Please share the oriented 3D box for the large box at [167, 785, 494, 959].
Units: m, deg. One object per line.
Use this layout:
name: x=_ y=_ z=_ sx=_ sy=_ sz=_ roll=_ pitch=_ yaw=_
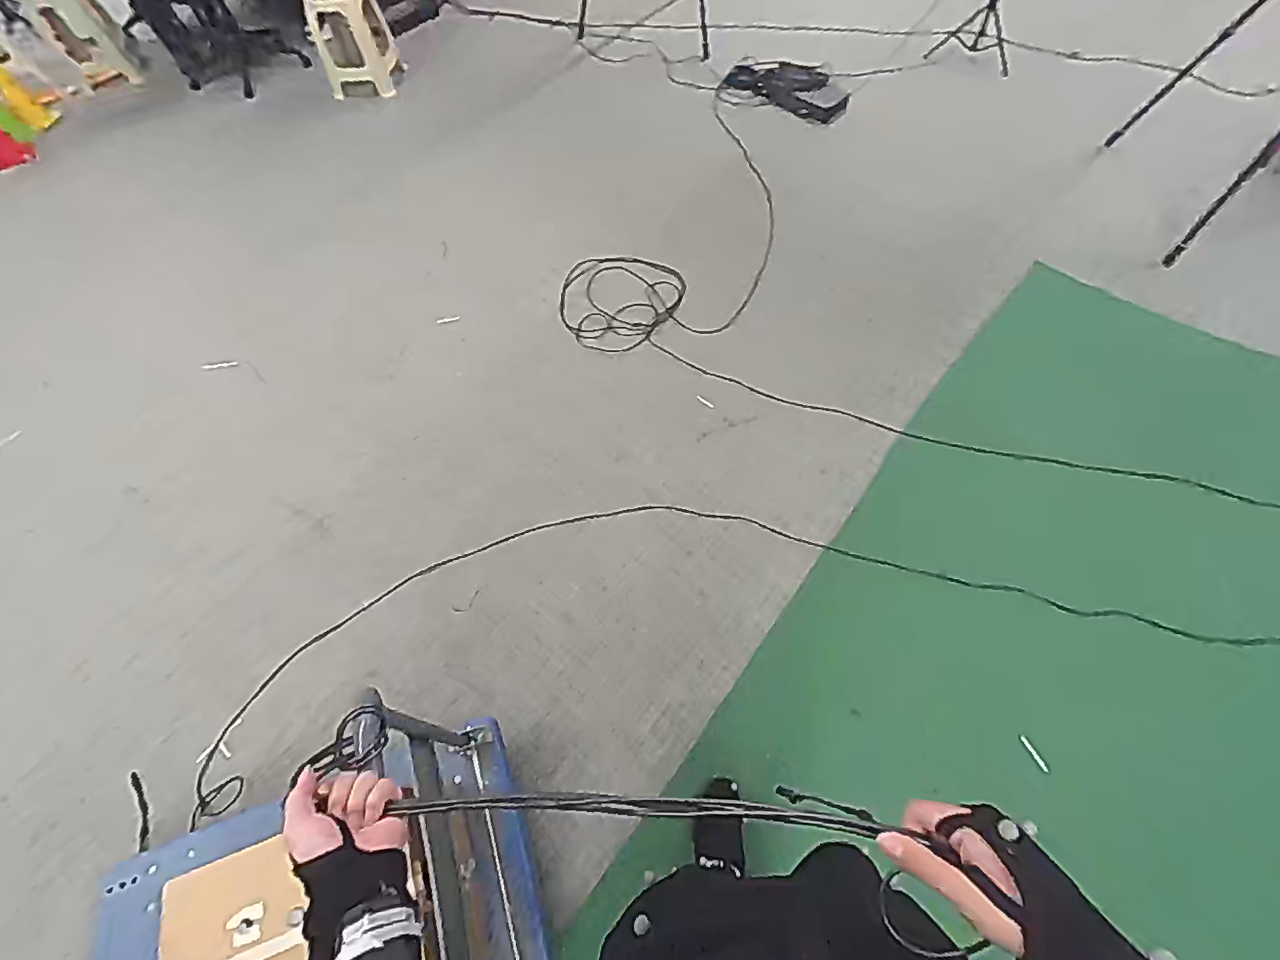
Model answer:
large box: x=-0.534 y=0.805 z=0.987 sx=0.408 sy=0.320 sz=0.320 roll=-21 pitch=62 yaw=-7
